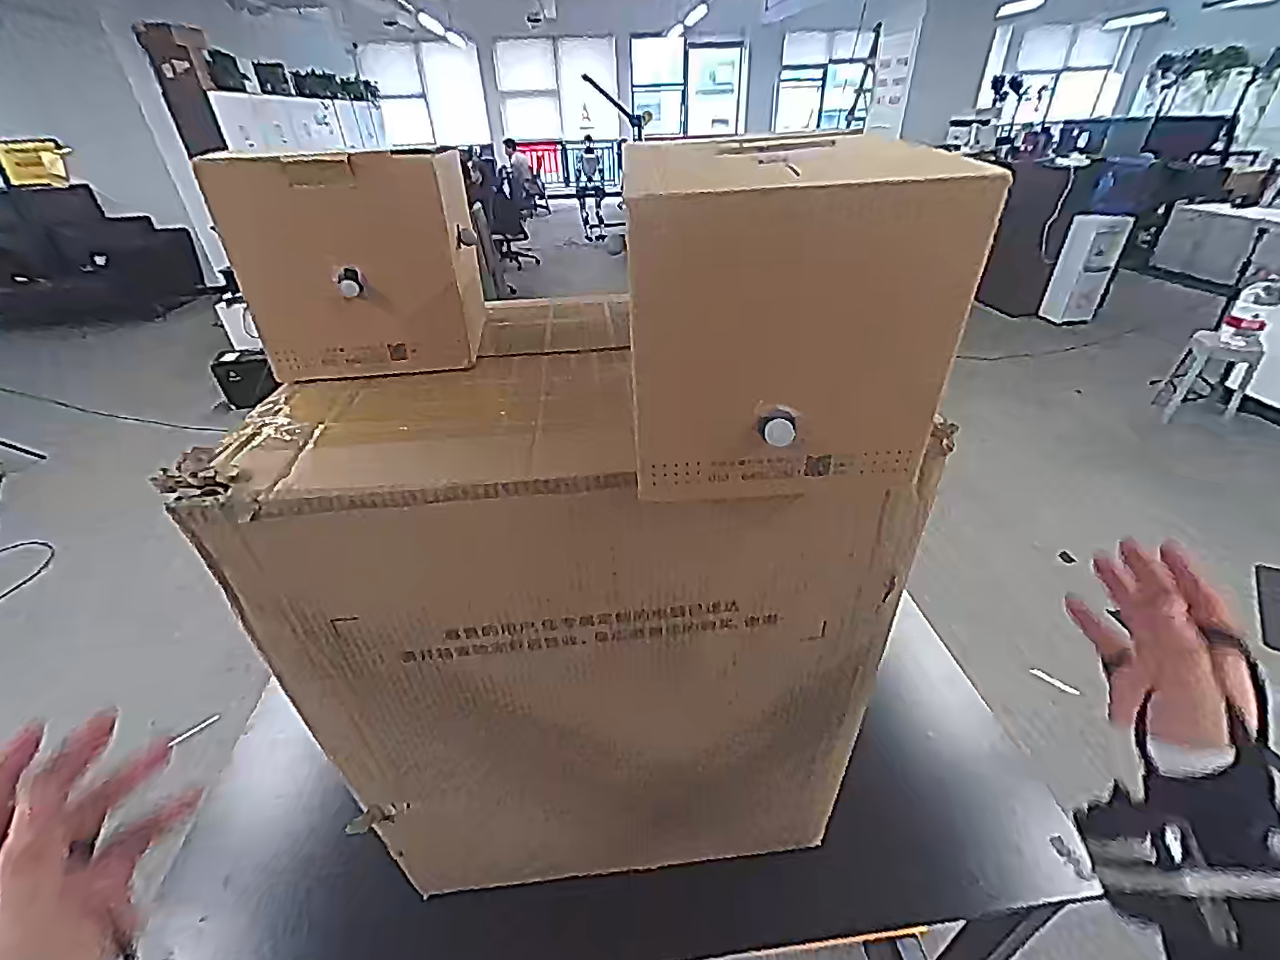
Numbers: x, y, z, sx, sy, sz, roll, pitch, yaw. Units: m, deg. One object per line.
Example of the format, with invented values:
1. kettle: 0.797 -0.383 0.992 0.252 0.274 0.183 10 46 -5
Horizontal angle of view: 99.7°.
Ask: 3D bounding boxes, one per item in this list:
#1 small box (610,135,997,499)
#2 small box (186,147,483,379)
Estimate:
1. small box: 0.073 -0.107 0.342 0.168 0.176 0.179 -4 38 2
2. small box: -0.247 -0.199 0.497 0.168 0.176 0.179 -7 34 -7
